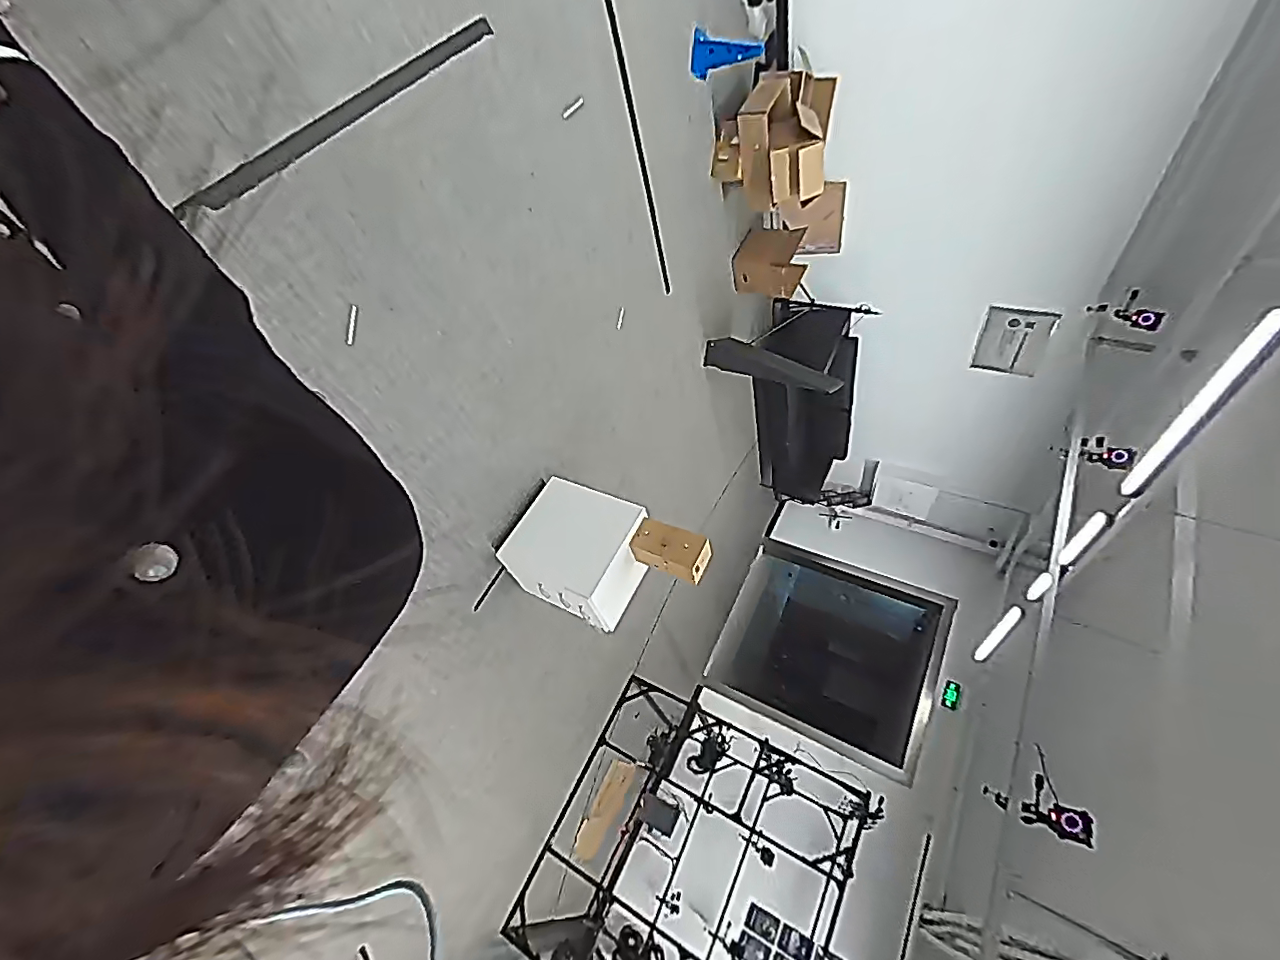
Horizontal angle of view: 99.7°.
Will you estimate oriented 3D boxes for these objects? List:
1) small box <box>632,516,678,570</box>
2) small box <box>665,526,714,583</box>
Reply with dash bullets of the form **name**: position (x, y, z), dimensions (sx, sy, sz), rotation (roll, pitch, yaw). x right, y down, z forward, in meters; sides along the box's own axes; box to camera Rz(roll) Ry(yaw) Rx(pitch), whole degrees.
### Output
- **small box**: position (0.084, 0.296, 2.578), dimensions (0.168, 0.176, 0.179), rotation (-58, 151, -25)
- **small box**: position (0.223, 0.342, 2.502), dimensions (0.179, 0.176, 0.168), rotation (-58, 152, -26)
